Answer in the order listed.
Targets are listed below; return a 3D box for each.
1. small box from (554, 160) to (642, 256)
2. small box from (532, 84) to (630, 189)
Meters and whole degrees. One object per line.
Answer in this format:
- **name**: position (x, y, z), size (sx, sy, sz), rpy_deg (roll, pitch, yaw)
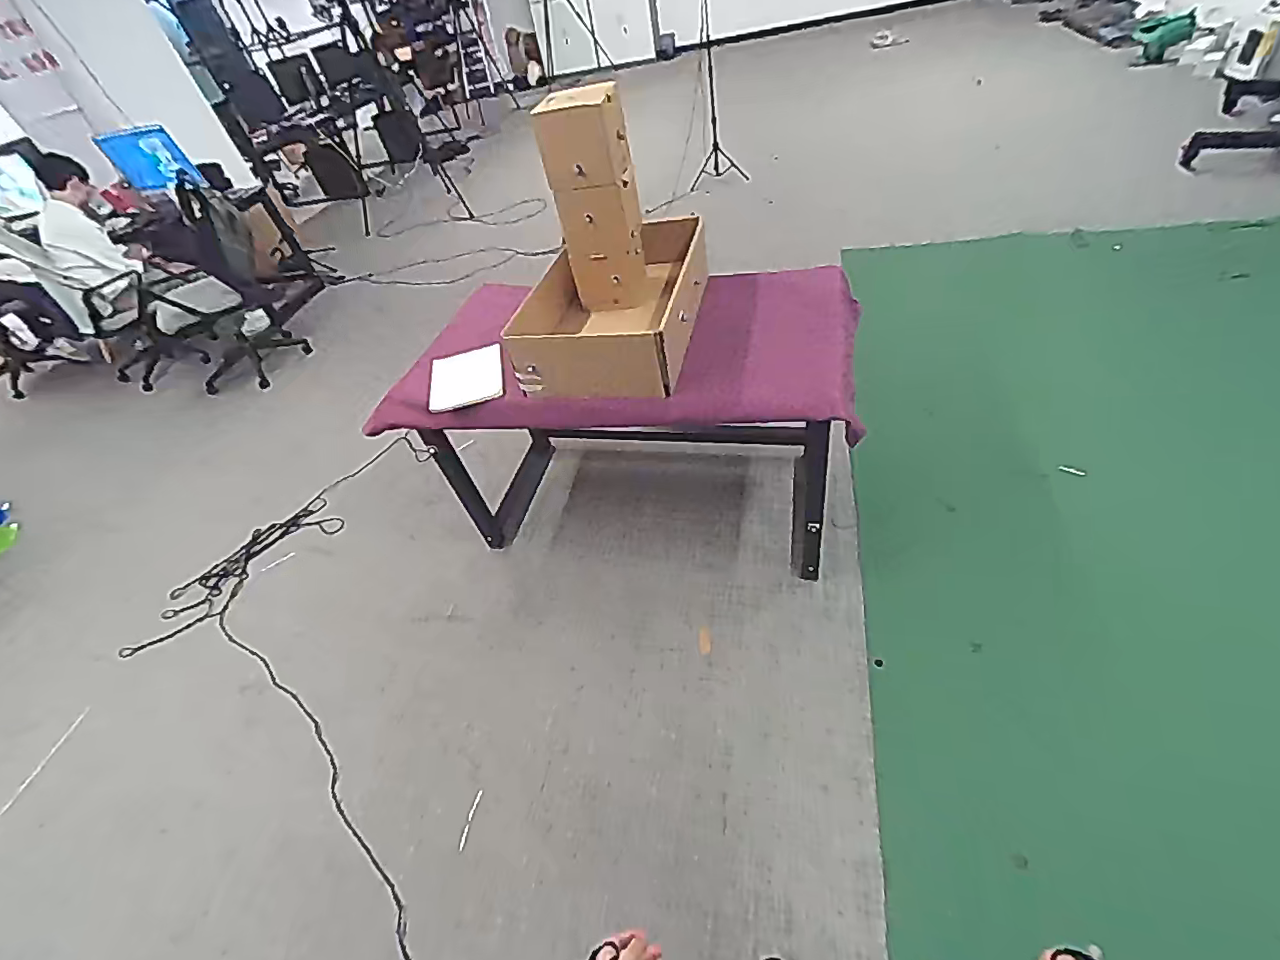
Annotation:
- **small box**: position (-0.100, -0.710, 1.418), size (0.179, 0.176, 0.168), rpy_deg (1, 48, 15)
- **small box**: position (-0.131, -0.824, 1.303), size (0.179, 0.176, 0.168), rpy_deg (4, 48, 15)
